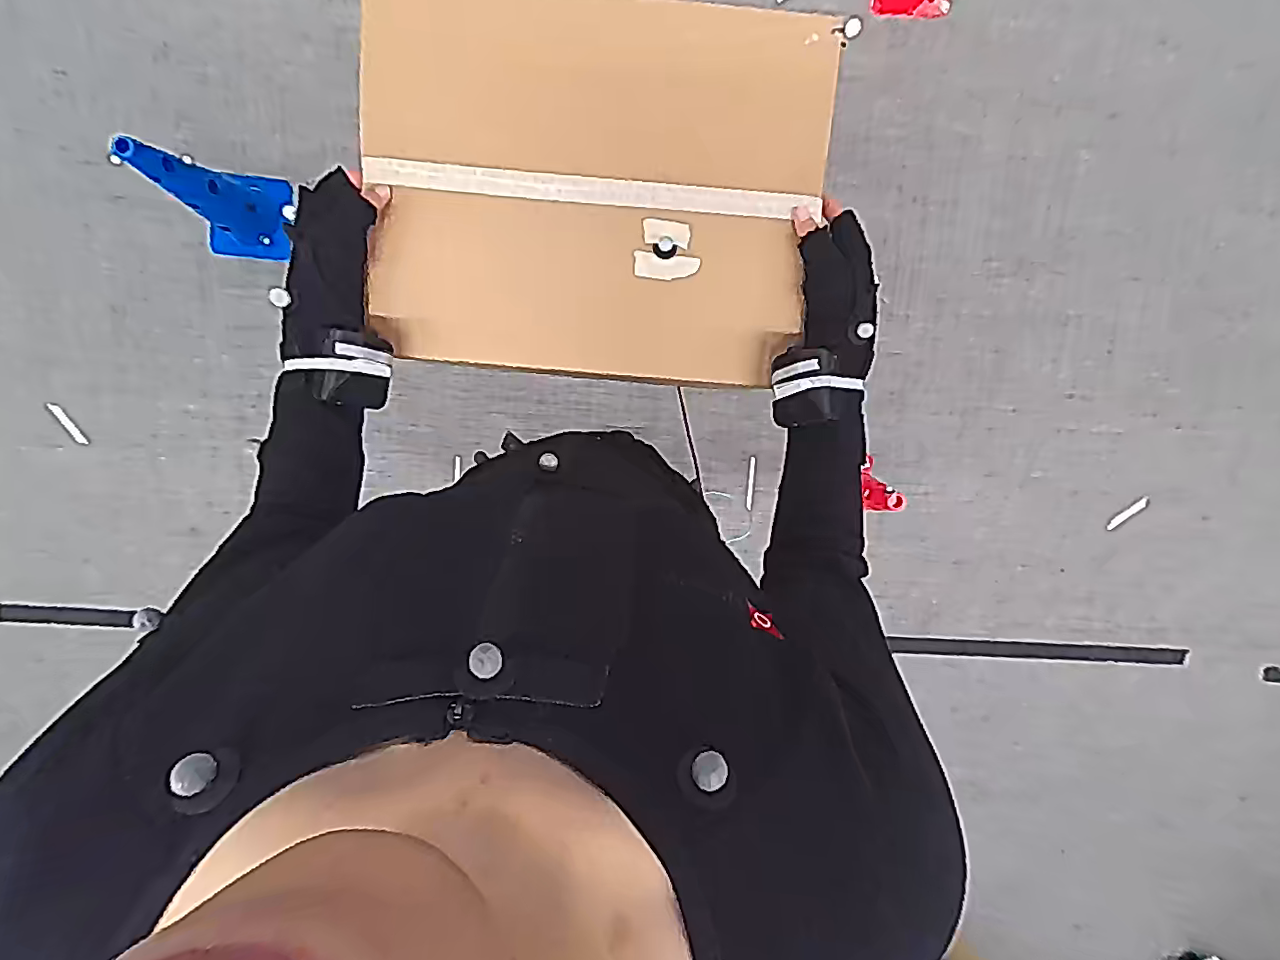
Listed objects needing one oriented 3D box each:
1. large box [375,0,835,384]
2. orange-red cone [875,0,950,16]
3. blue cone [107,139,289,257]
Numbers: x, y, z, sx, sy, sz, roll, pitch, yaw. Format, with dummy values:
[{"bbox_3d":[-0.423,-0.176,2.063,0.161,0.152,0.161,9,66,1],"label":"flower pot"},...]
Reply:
[{"bbox_3d":[-0.042,-0.282,0.632,0.408,0.320,0.320,4,100,-2],"label":"large box"},{"bbox_3d":[0.694,-1.258,1.181,0.198,0.360,0.199,1,95,-3],"label":"orange-red cone"},{"bbox_3d":[-0.989,-0.651,1.213,0.192,0.380,0.193,7,96,-1],"label":"blue cone"}]
